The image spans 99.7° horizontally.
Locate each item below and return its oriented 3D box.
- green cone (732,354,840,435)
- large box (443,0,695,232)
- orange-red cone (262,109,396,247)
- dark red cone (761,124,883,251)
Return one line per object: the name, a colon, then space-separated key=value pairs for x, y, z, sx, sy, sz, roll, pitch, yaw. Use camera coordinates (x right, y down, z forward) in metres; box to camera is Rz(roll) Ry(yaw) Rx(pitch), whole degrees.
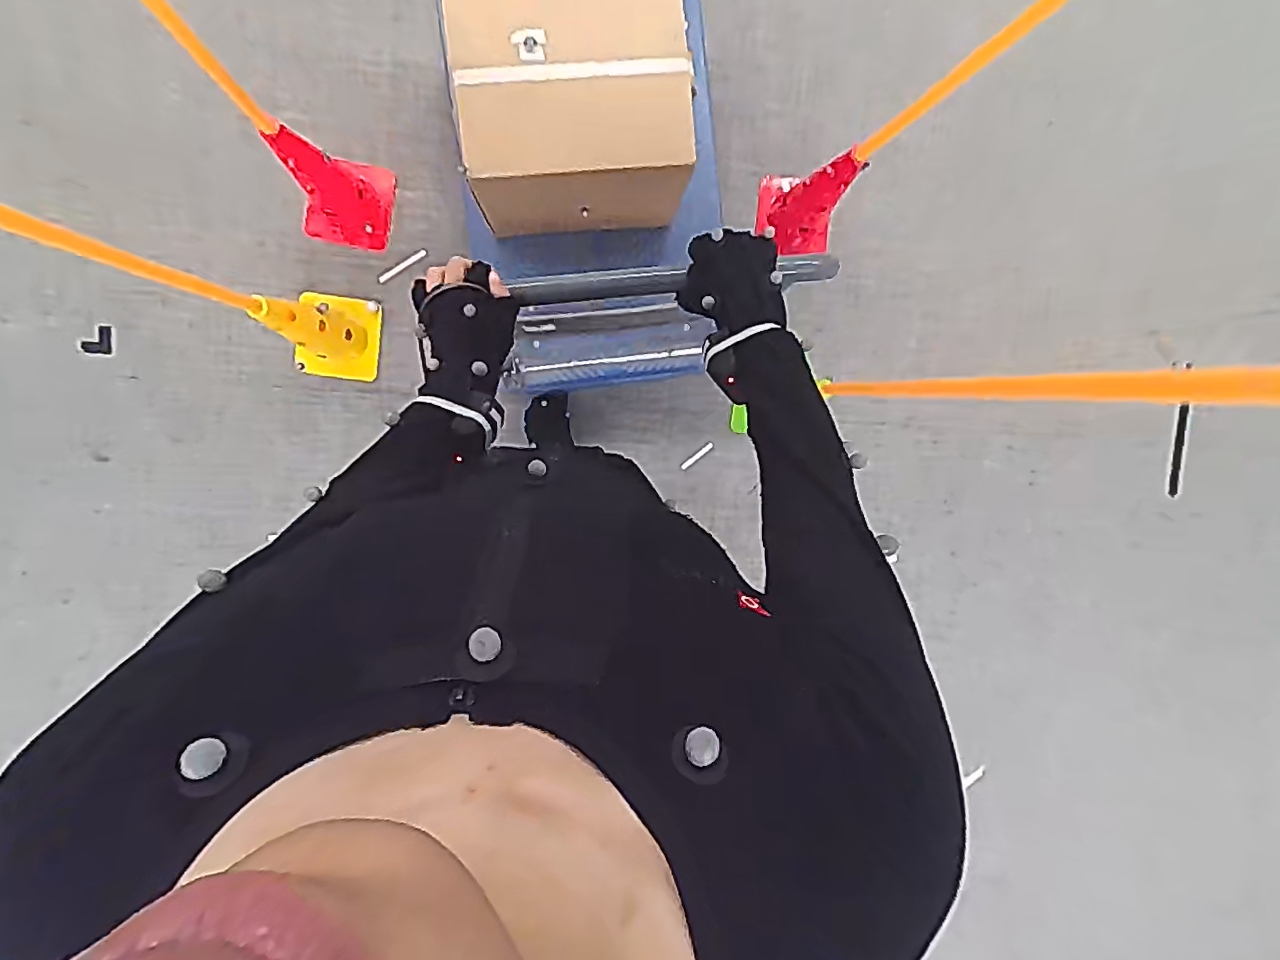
green cone: x=0.377 y=-0.215 z=1.310 sx=0.202 sy=0.368 sz=0.200 roll=7 pitch=95 yaw=-7
large box: x=-0.125 y=-0.709 z=1.069 sx=0.408 sy=0.320 sz=0.320 roll=-6 pitch=97 yaw=-4
orange-red cone: x=-0.697 y=-0.679 z=1.165 sx=0.198 sy=0.360 sz=0.199 roll=11 pitch=93 yaw=-7
dark red cone: x=0.434 y=-0.693 z=1.249 sx=0.201 sy=0.394 sz=0.202 roll=3 pitch=96 yaw=-8
